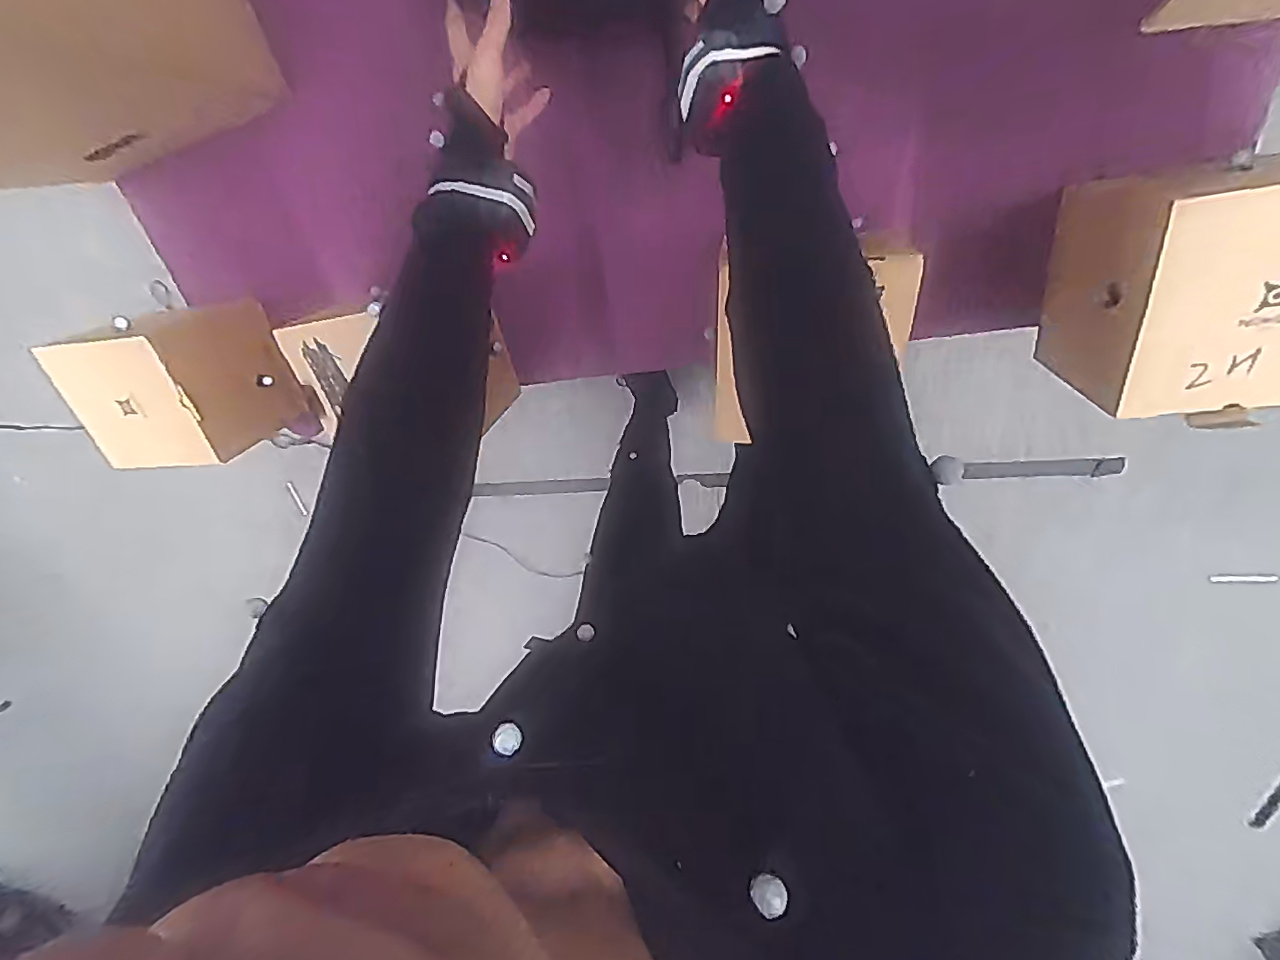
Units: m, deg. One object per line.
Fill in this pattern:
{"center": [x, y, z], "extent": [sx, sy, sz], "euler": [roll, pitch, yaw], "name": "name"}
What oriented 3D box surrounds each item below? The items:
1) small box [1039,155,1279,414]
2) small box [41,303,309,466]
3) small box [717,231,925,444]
{"center": [0.488, -0.176, 0.476], "extent": [0.168, 0.176, 0.179], "euler": [-3, 121, 15], "name": "small box"}
{"center": [-0.600, -0.131, 0.725], "extent": [0.179, 0.176, 0.168], "euler": [-2, 121, 11], "name": "small box"}
{"center": [0.166, -0.154, 0.557], "extent": [0.168, 0.176, 0.179], "euler": [3, 123, 10], "name": "small box"}
